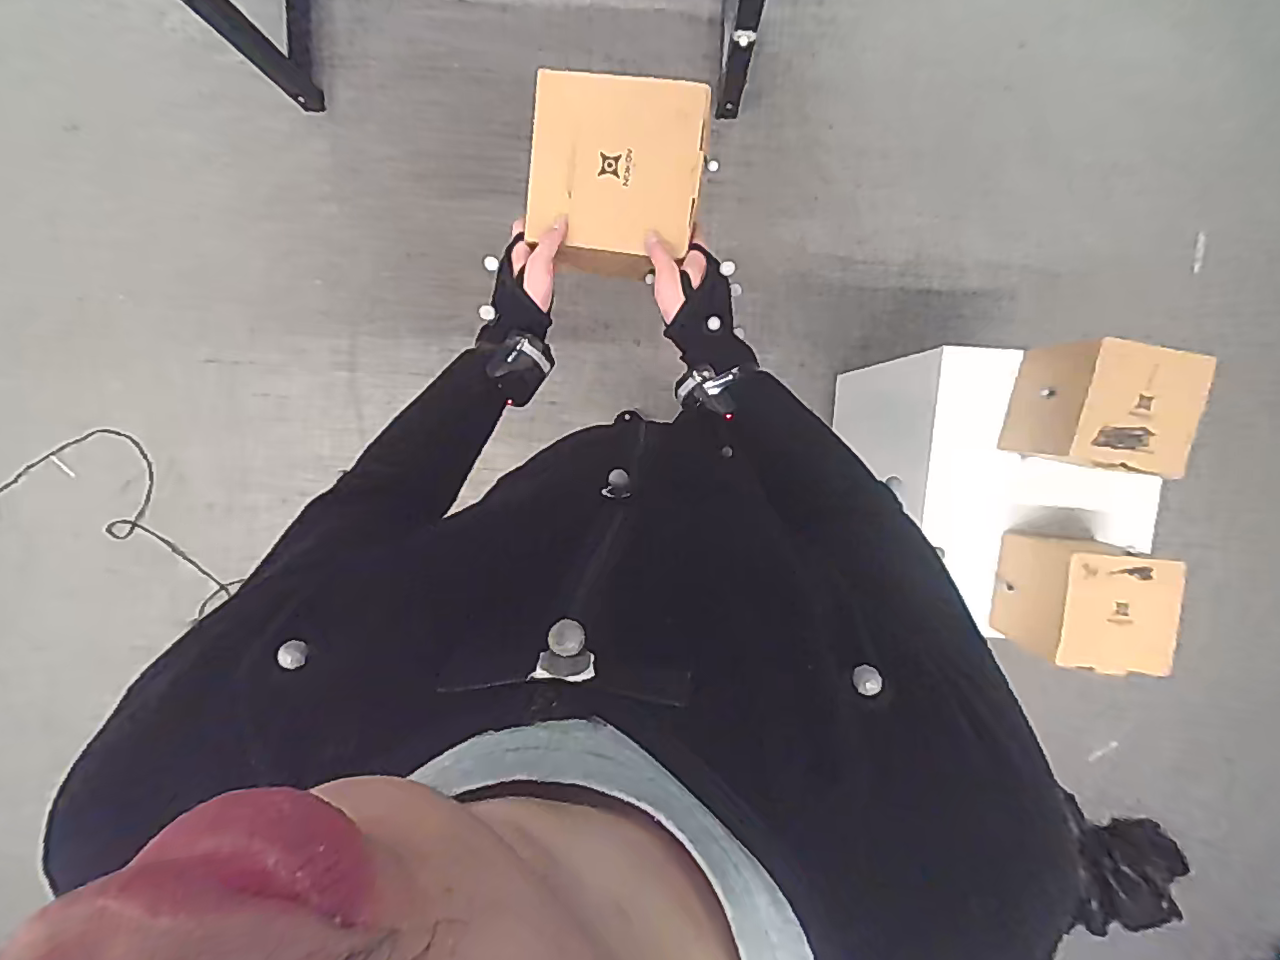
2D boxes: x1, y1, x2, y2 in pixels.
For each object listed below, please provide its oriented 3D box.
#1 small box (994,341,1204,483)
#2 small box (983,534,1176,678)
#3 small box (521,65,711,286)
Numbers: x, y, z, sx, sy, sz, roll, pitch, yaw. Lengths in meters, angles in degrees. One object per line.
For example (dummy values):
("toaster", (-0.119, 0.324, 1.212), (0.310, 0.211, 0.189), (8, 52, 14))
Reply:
("small box", (0.700, -0.104, 0.849), (0.168, 0.176, 0.179), (12, 95, -1))
("small box", (0.694, 0.195, 0.877), (0.168, 0.176, 0.179), (5, 95, 0))
("small box", (-0.019, -0.325, 0.612), (0.179, 0.176, 0.168), (7, 99, 5))
